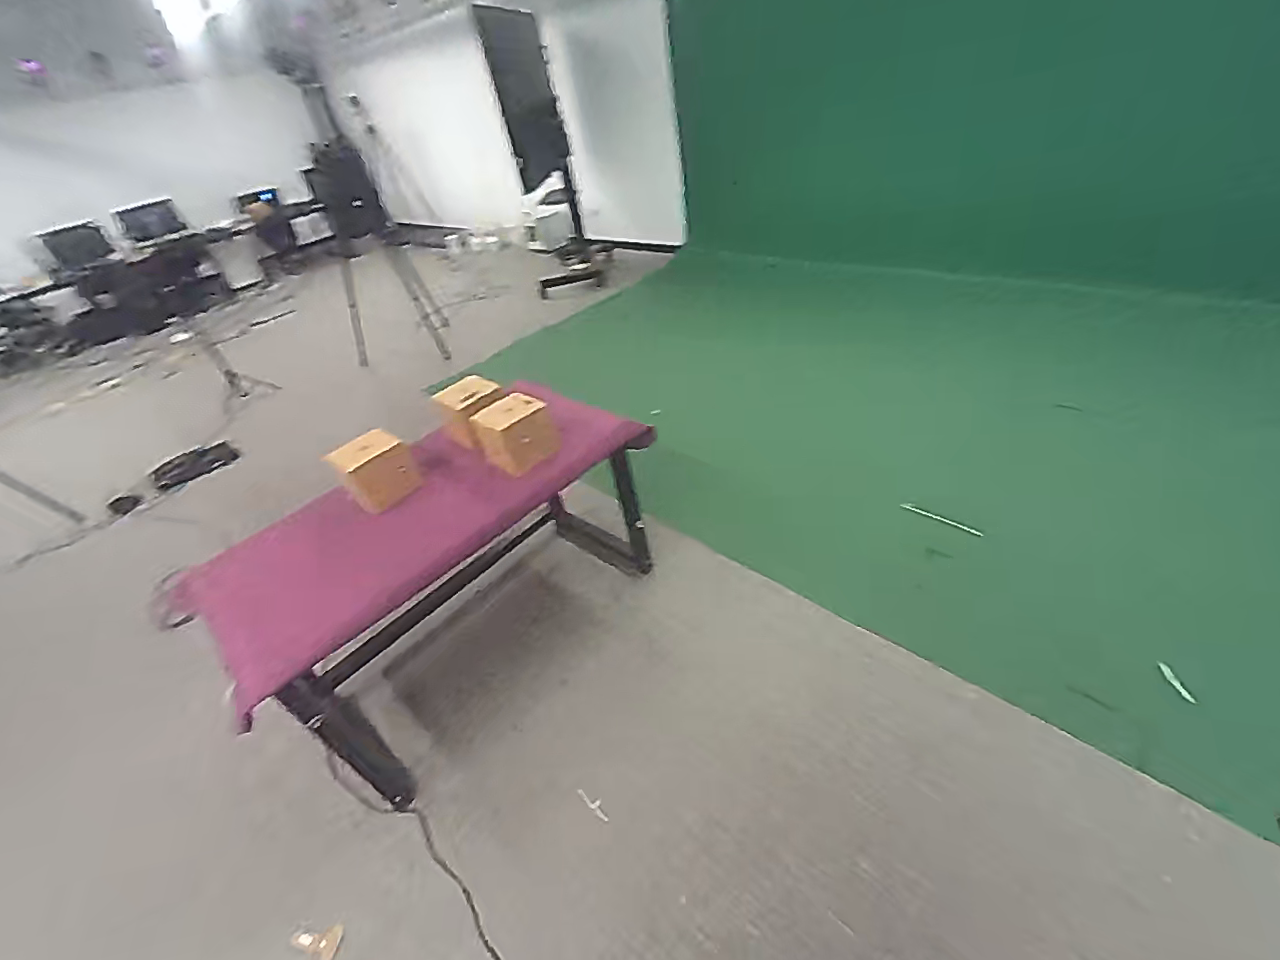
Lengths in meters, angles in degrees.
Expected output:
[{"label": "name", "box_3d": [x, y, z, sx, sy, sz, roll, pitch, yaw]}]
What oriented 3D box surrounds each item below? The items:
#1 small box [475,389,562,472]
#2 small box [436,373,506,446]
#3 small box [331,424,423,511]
[{"label": "small box", "box_3d": [-0.368, -0.151, 1.660, 0.179, 0.176, 0.168, -38, 44, -27]}, {"label": "small box", "box_3d": [-0.544, -0.235, 1.818, 0.179, 0.176, 0.168, 25, 51, 39]}, {"label": "small box", "box_3d": [-0.787, -0.039, 1.641, 0.168, 0.176, 0.179, 23, 51, 37]}]
